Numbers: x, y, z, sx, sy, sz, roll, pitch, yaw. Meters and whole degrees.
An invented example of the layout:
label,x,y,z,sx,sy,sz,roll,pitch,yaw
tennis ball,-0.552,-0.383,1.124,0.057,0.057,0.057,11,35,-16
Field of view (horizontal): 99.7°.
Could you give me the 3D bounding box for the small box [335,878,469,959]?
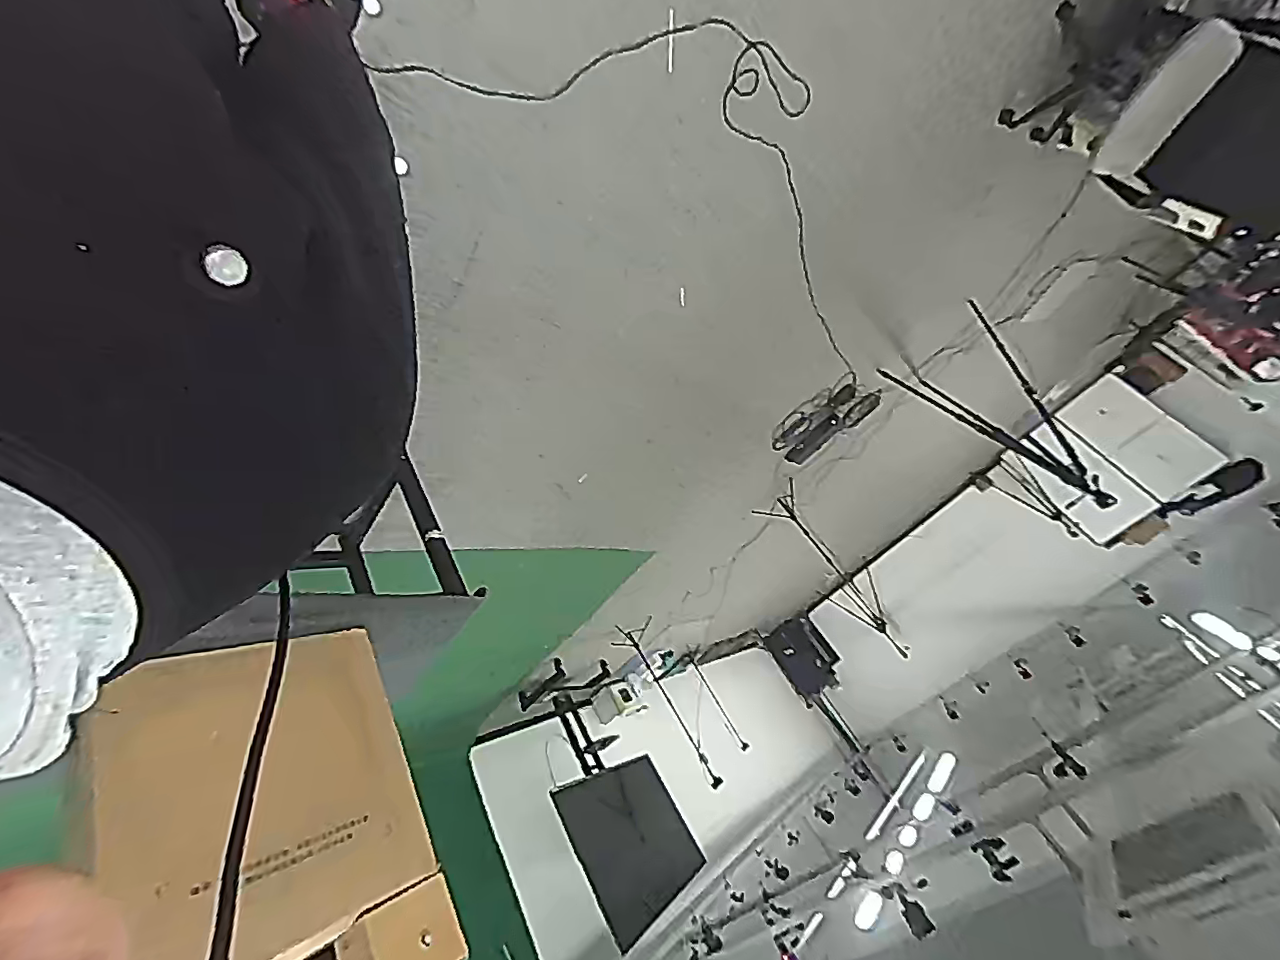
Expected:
label,x,y,z,sx,sy,sz,roll,pitch,yaw
small box,-0.499,0.982,1.128,0.179,0.176,0.168,3,133,-53
